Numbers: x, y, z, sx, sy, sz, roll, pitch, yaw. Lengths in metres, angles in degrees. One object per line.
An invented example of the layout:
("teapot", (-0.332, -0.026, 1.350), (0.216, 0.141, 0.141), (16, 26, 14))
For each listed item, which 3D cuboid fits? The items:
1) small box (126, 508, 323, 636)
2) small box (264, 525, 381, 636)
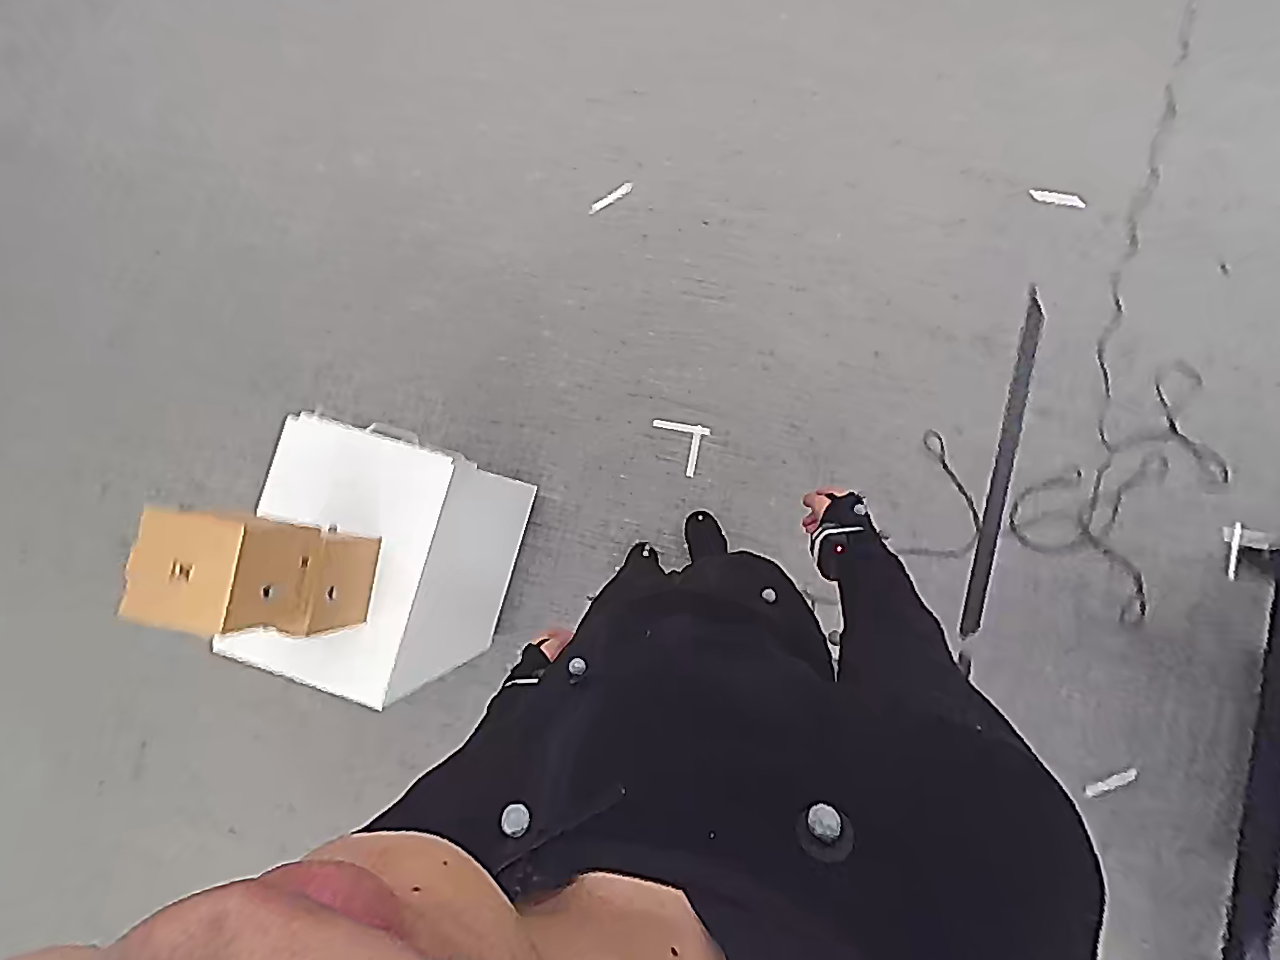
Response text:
("small box", (-0.653, 0.139, 0.871), (0.179, 0.176, 0.168), (8, 86, 8))
("small box", (-0.623, 0.181, 1.028), (0.168, 0.176, 0.179), (8, 85, 7))
